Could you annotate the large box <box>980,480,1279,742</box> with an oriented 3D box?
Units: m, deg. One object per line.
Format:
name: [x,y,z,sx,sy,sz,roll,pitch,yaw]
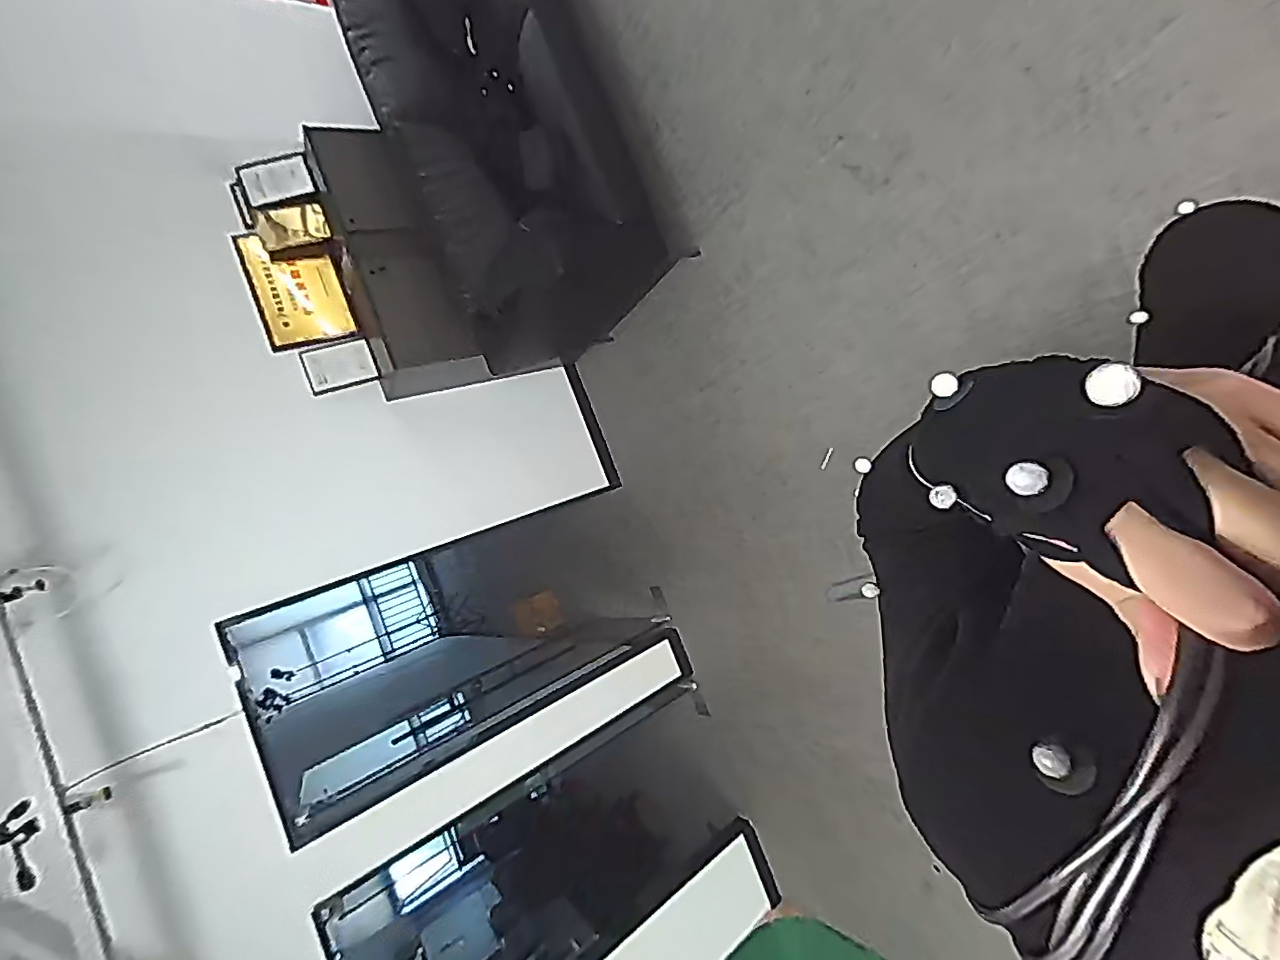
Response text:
large box: [1.014,0.266,1.118,0.320,0.320,0.408,-39,73,55]
